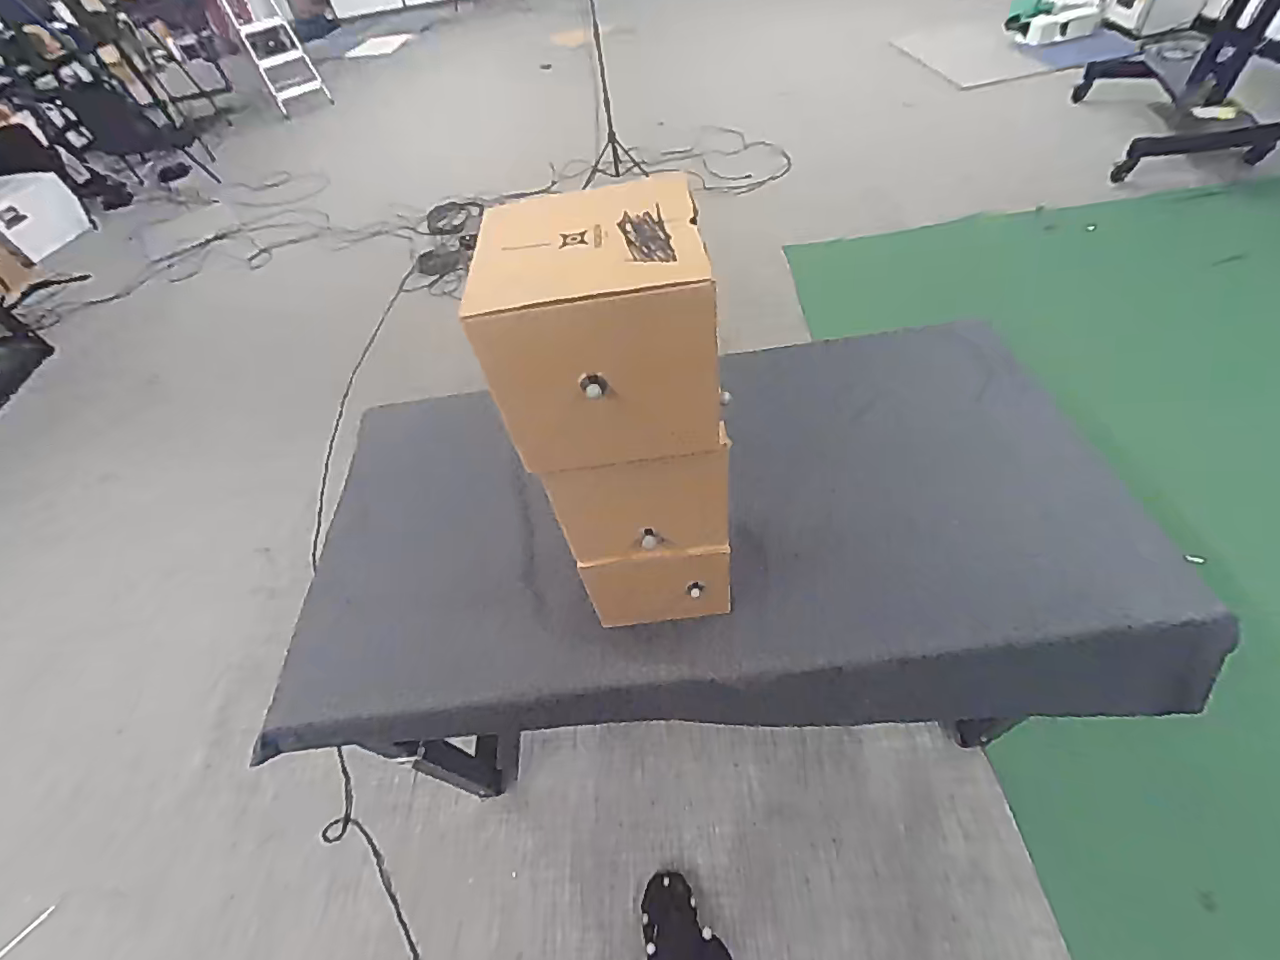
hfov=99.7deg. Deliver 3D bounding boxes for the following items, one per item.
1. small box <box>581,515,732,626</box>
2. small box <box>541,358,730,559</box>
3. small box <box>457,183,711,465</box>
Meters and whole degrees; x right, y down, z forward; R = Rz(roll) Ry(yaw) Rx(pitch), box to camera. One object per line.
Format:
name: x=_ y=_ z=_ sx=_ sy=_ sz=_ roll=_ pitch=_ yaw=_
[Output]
small box: x=0.024 y=0.079 z=0.724 sx=0.179 sy=0.176 sz=0.168 roll=-9 pitch=50 yaw=4
small box: x=0.000 y=-0.029 z=0.604 sx=0.179 sy=0.176 sz=0.168 roll=-7 pitch=50 yaw=4
small box: x=-0.030 y=-0.130 z=0.474 sx=0.179 sy=0.176 sz=0.168 roll=-5 pitch=49 yaw=6
